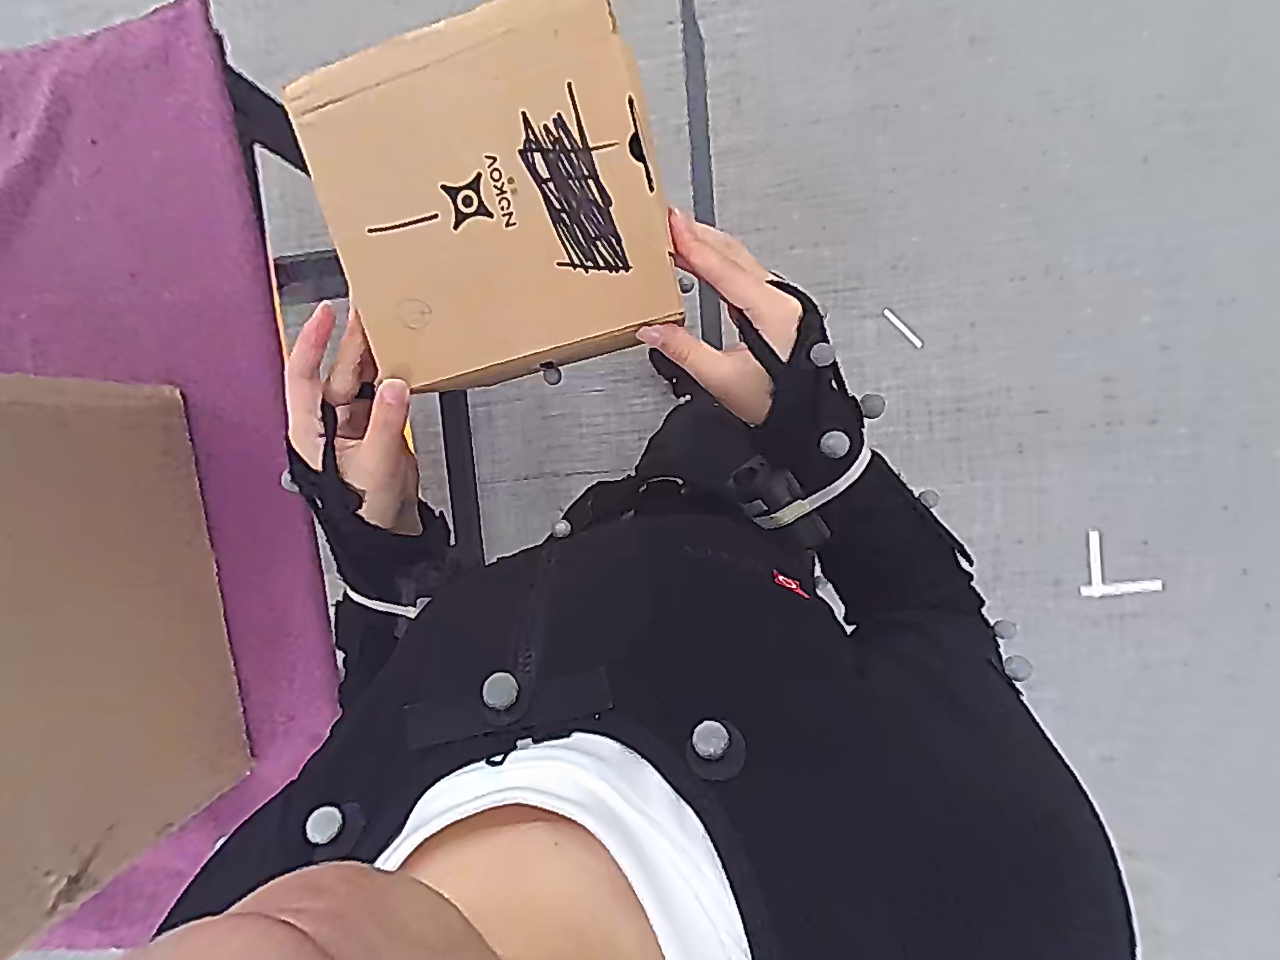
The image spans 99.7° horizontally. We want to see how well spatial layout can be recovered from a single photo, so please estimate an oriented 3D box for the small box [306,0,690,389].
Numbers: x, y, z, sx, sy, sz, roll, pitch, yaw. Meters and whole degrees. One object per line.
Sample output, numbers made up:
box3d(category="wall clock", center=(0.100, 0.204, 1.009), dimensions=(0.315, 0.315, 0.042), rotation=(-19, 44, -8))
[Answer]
box3d(category="small box", center=(-0.068, -0.165, 0.367), dimensions=(0.179, 0.176, 0.168), rotation=(-13, 100, 8))
